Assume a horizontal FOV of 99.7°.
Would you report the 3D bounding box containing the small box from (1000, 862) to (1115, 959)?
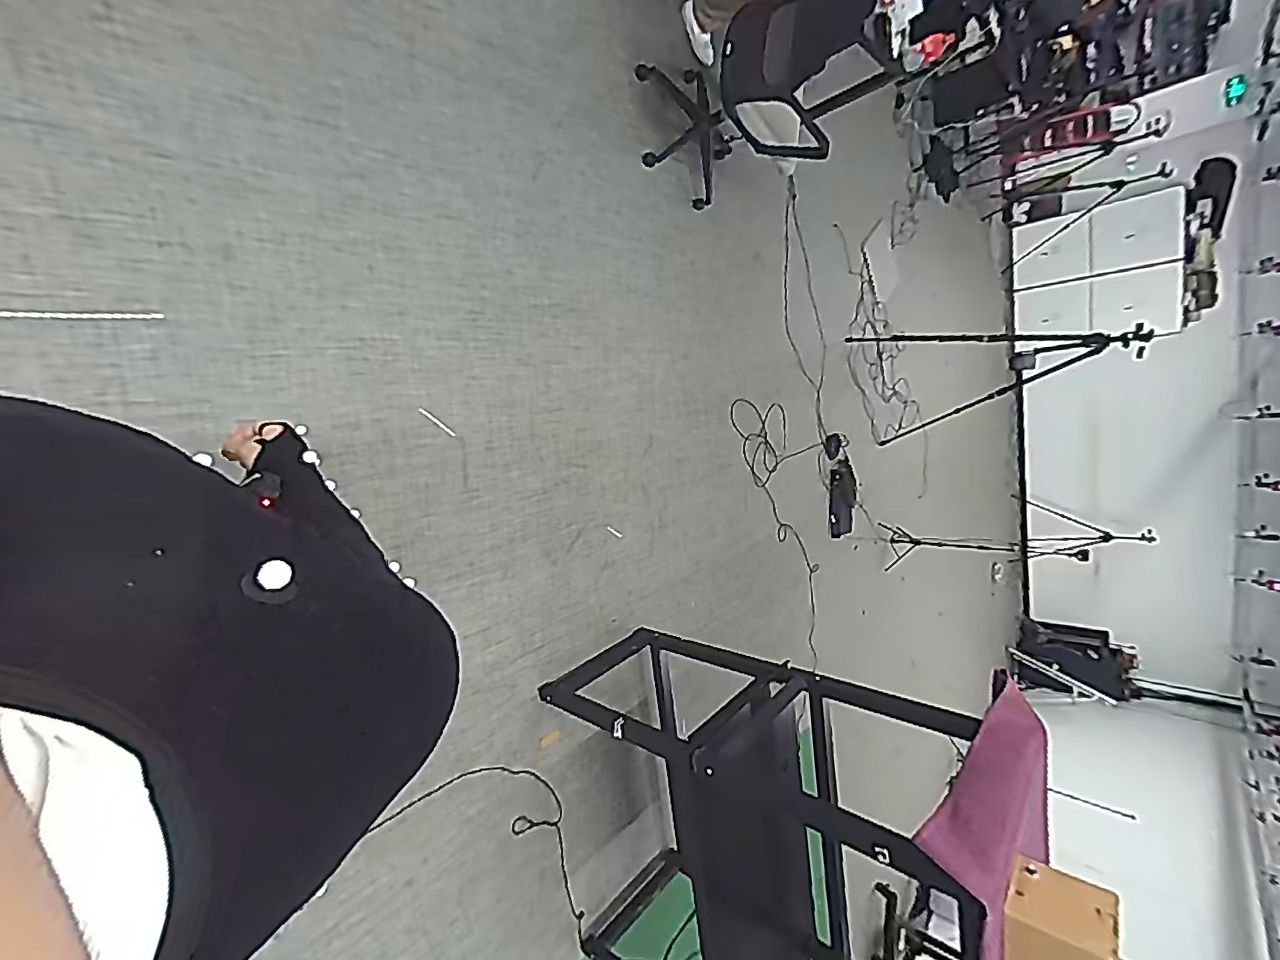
[{"bbox_3d":[0.821,0.900,1.064,0.168,0.176,0.179,-16,103,-46],"label":"small box"}]
